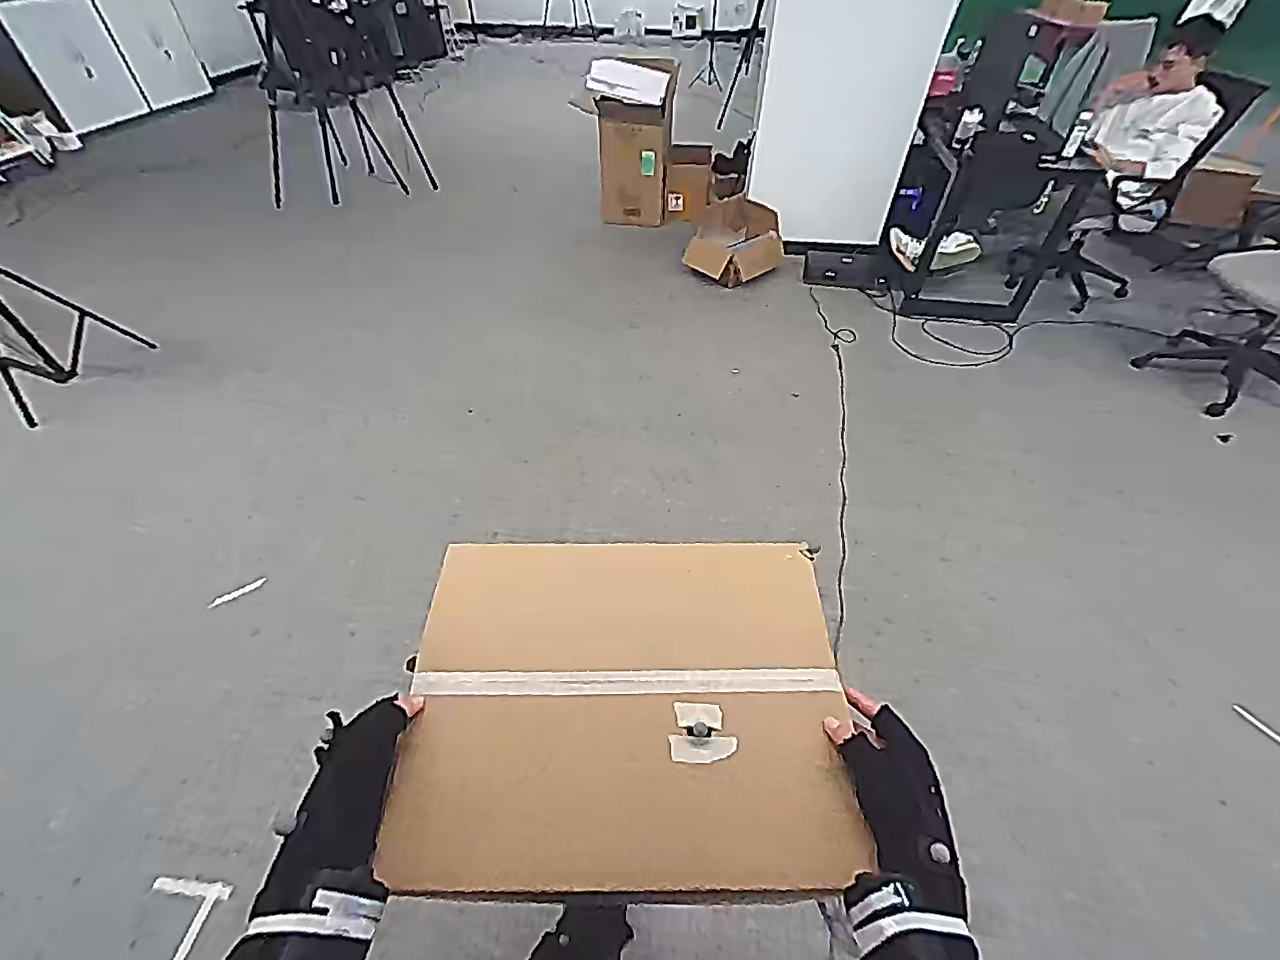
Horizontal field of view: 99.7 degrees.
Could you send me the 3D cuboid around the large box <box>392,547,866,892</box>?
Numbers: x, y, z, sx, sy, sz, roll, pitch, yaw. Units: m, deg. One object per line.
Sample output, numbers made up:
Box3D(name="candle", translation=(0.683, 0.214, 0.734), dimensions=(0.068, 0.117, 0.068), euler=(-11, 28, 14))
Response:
Box3D(name="large box", translation=(-0.013, 0.293, 0.653), dimensions=(0.408, 0.320, 0.320), euler=(0, 51, 0))
